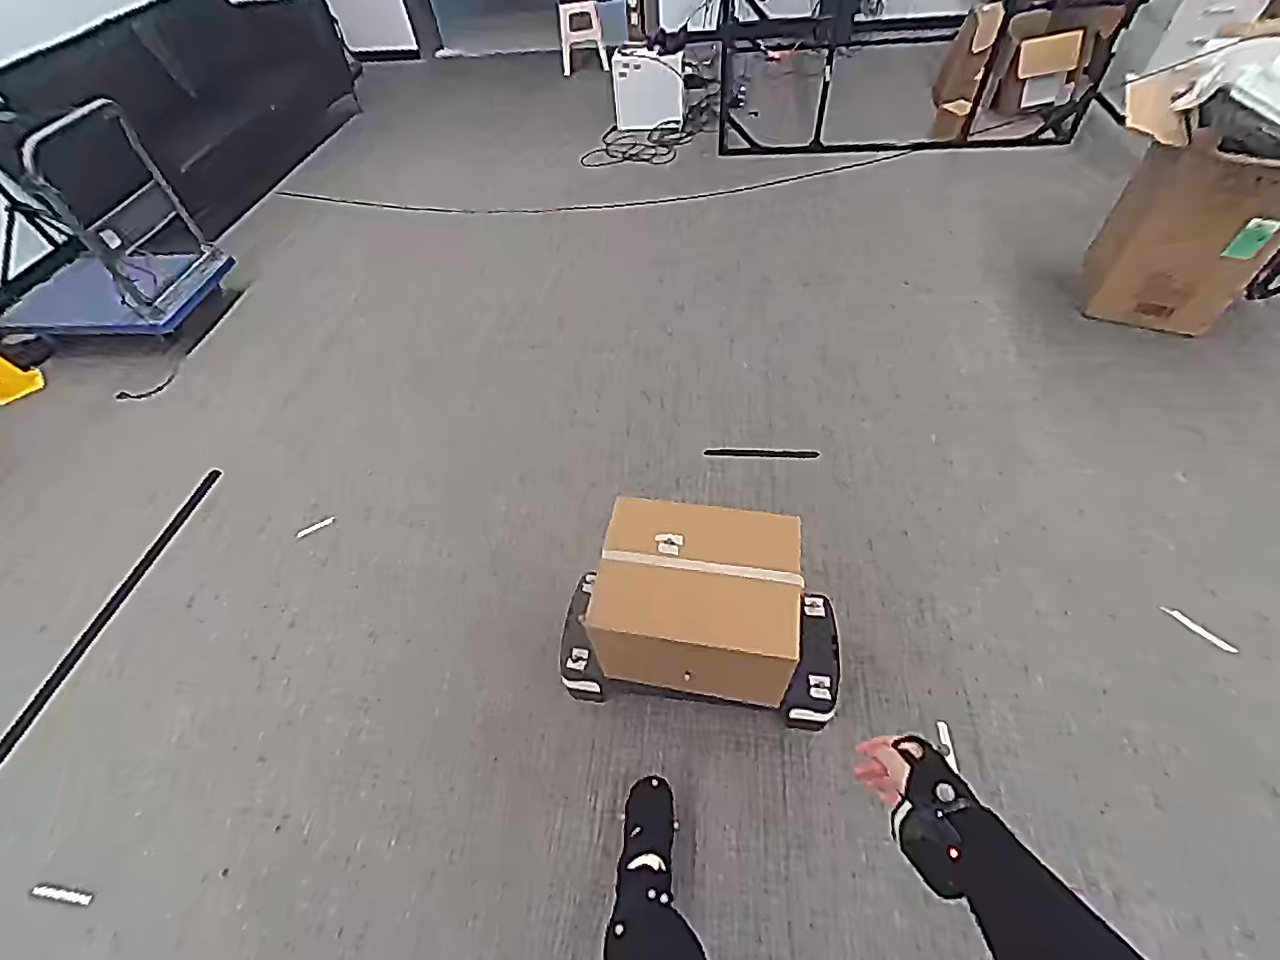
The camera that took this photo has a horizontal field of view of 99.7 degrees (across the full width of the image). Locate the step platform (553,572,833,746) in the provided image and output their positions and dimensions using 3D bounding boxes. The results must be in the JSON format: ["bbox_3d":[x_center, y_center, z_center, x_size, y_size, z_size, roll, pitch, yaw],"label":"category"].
[{"bbox_3d":[0.130,0.439,1.374,0.684,0.204,0.286,7,53,12],"label":"step platform"}]

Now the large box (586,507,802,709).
[{"bbox_3d":[0.132,0.284,1.191,0.408,0.320,0.320,5,52,11],"label":"large box"}]
